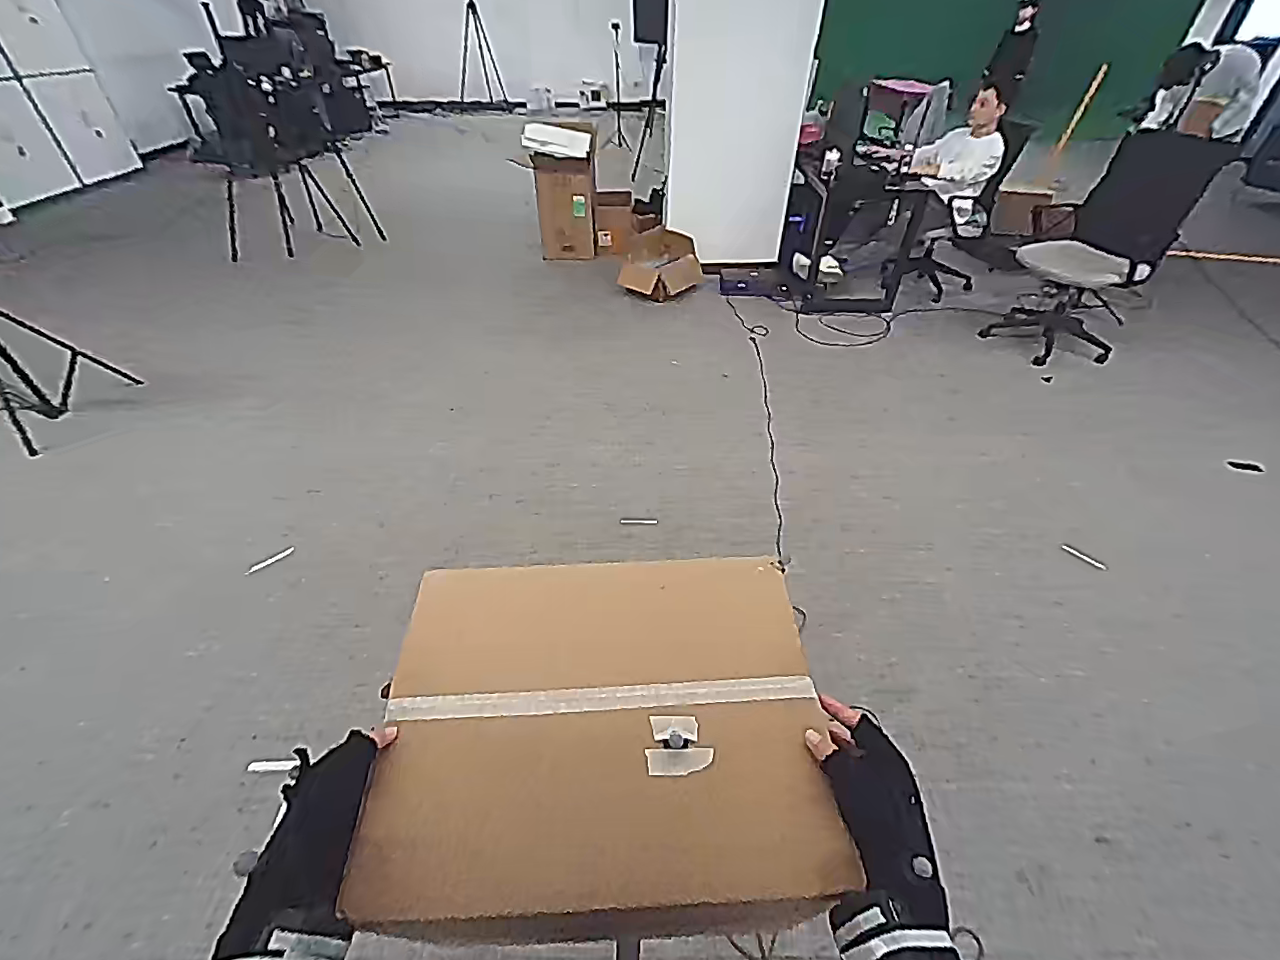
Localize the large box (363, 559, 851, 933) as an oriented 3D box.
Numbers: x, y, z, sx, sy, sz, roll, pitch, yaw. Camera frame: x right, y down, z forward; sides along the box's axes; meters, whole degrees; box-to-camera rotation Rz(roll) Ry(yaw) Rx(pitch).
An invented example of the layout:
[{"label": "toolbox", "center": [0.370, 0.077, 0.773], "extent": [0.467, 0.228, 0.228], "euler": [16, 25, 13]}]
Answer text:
[{"label": "large box", "center": [-0.032, 0.315, 0.641], "extent": [0.408, 0.320, 0.320], "euler": [-2, 48, -1]}]
